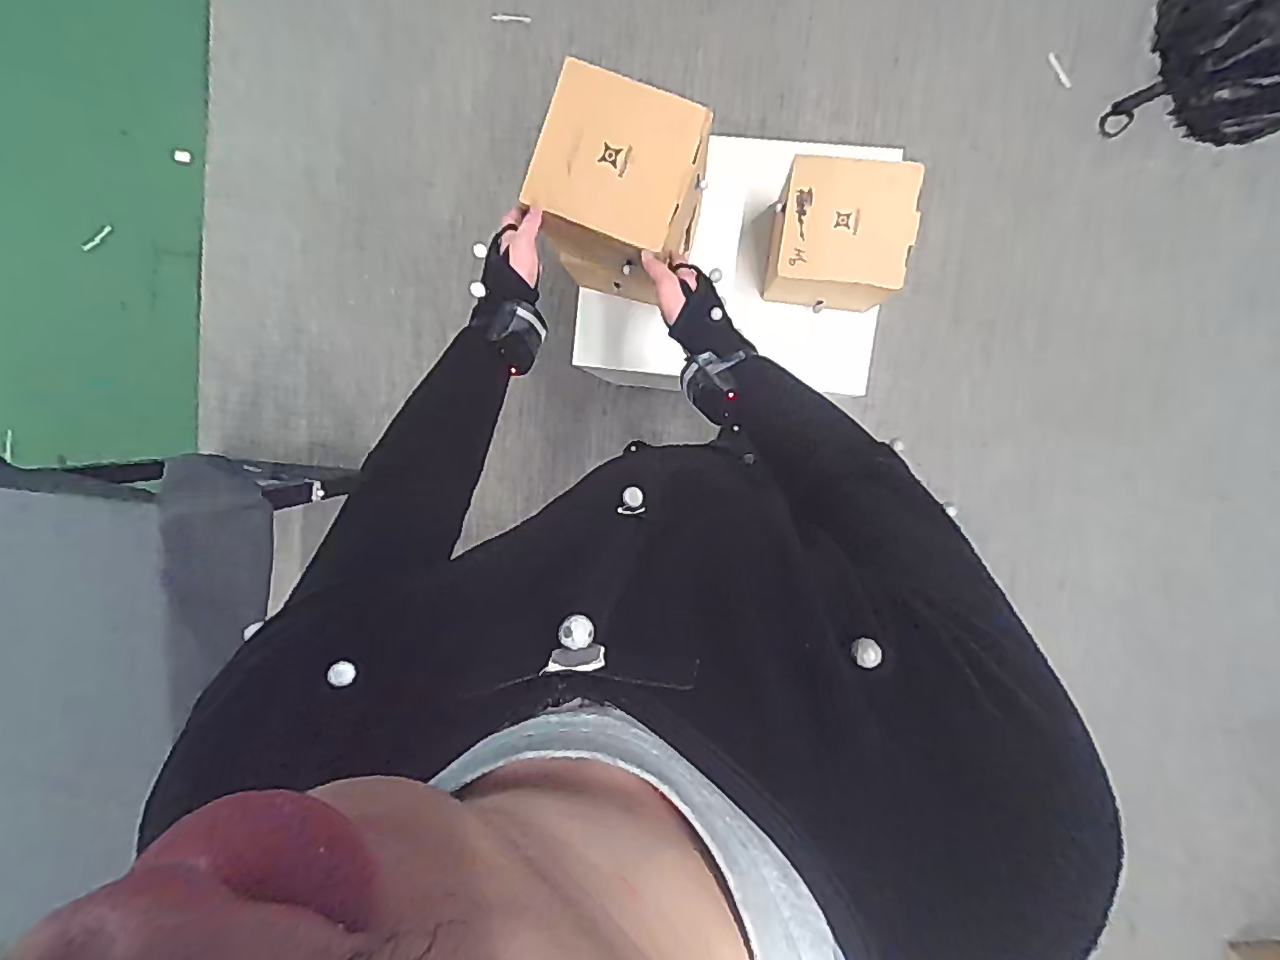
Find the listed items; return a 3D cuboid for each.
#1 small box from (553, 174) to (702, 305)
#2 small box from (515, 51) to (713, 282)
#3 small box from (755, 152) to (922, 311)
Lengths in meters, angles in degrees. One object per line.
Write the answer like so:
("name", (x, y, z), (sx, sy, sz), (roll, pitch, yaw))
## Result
("small box", (-0.015, -0.379, 0.826), (0.179, 0.176, 0.168), (15, 96, 2))
("small box", (-0.026, -0.363, 0.665), (0.179, 0.176, 0.168), (20, 95, 1))
("small box", (0.284, -0.358, 0.812), (0.179, 0.176, 0.168), (8, 97, 2))
